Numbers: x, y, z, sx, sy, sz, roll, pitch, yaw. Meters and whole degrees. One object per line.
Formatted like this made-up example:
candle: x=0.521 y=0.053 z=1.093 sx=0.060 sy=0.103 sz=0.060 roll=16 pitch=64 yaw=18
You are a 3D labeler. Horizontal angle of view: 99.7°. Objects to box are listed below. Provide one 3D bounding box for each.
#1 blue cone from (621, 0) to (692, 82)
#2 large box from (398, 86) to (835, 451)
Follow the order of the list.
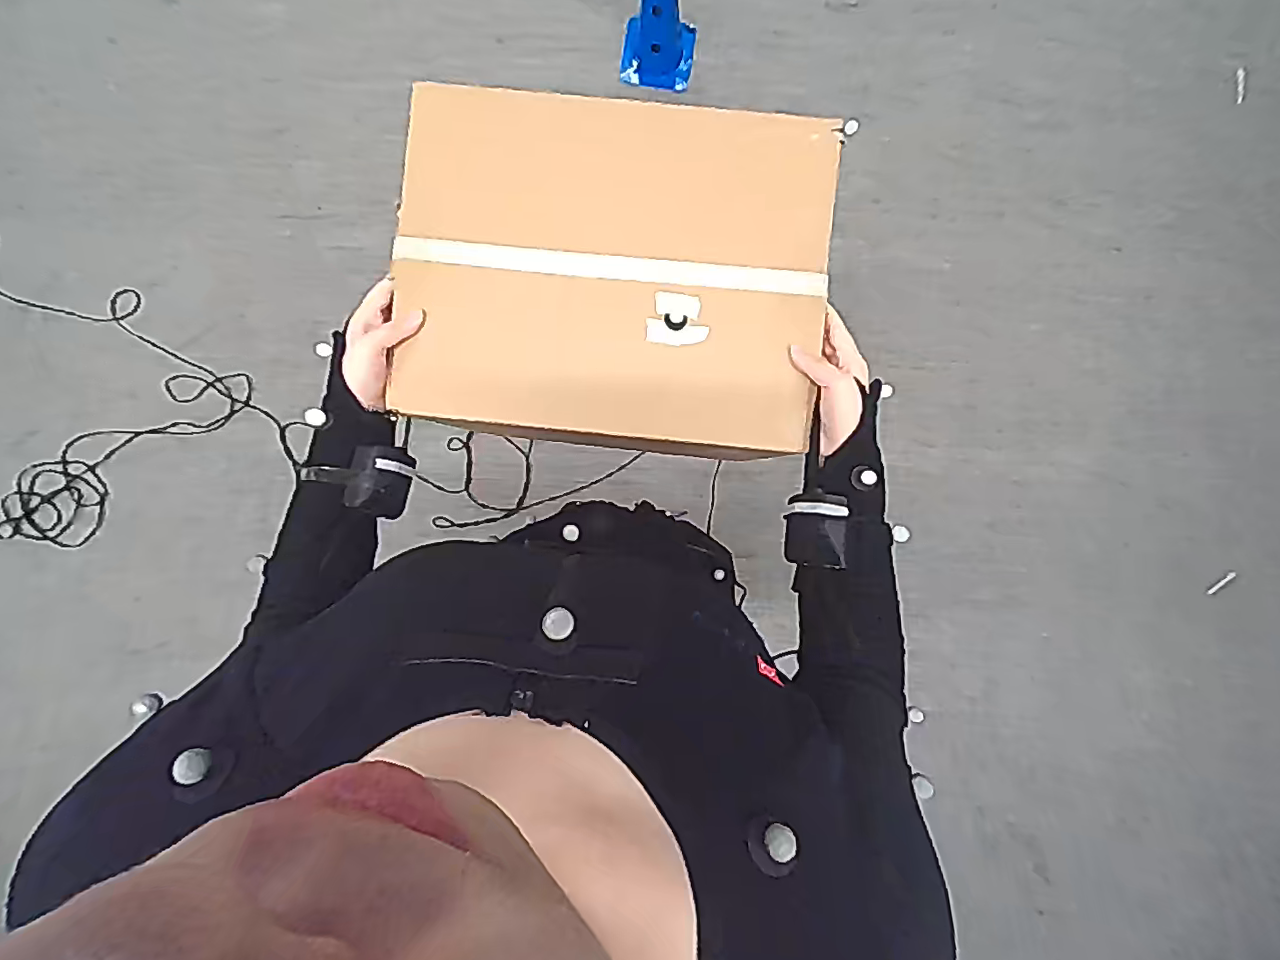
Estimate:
blue cone: x=0.046 y=-1.247 z=1.386 sx=0.193 sy=0.380 sz=0.192 roll=10 pitch=88 yaw=0
large box: x=-0.025 y=-0.209 z=0.664 sx=0.408 sy=0.320 sz=0.320 roll=5 pitch=92 yaw=0
